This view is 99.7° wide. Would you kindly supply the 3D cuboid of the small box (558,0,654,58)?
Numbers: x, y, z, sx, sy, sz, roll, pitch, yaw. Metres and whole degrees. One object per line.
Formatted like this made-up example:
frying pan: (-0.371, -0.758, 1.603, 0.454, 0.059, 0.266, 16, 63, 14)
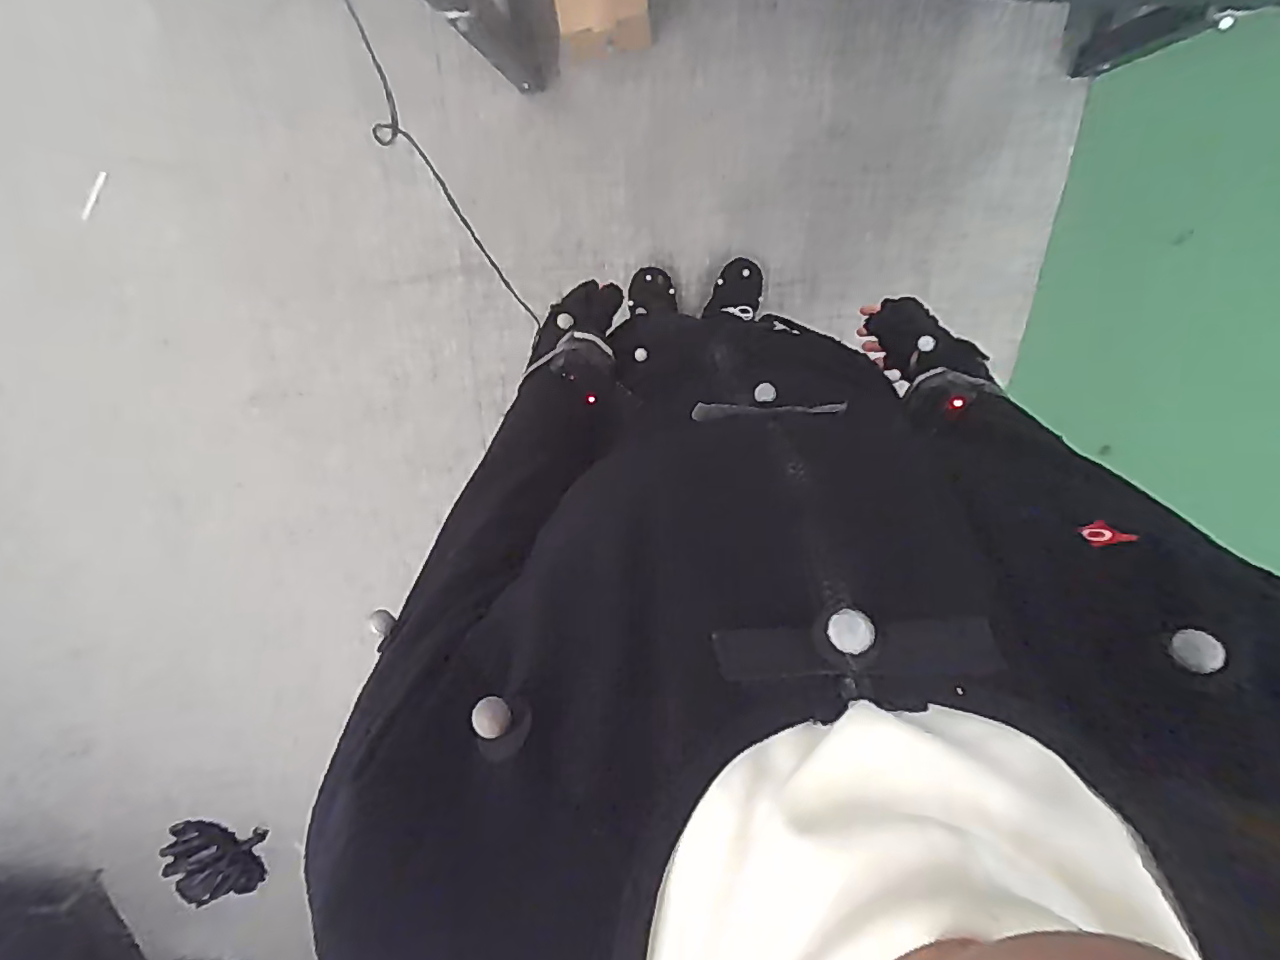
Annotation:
small box: (-0.066, -0.933, 1.023, 0.168, 0.176, 0.179, -7, 113, 7)
